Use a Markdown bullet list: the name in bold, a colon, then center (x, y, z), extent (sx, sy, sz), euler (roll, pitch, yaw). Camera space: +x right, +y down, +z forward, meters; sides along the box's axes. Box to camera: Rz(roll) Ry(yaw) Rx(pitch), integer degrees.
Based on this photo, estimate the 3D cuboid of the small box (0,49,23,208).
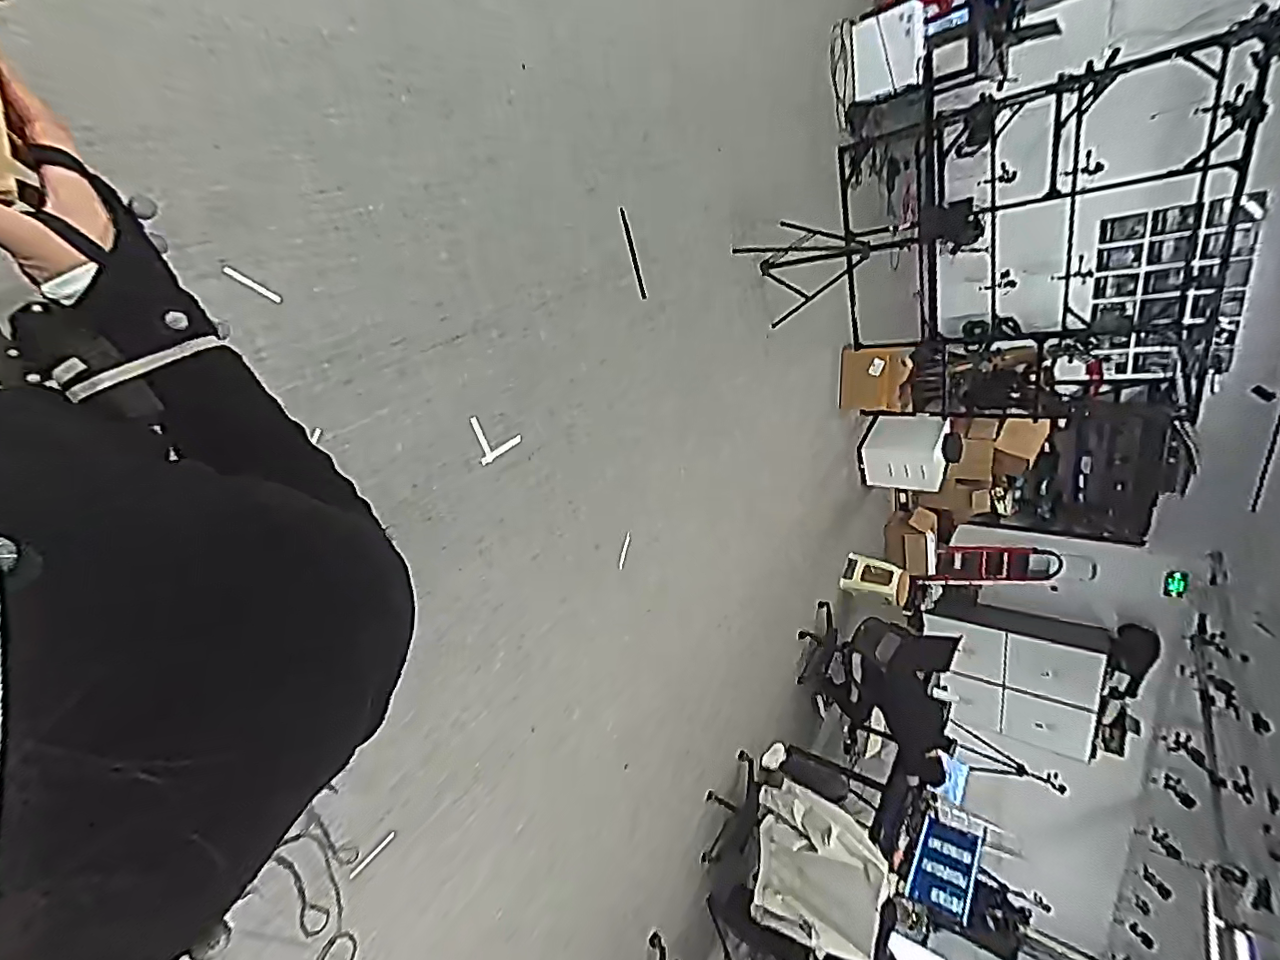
- **small box**: center (-0.475, -0.252, 0.282), extent (0.168, 0.176, 0.179), euler (-15, 110, -54)
